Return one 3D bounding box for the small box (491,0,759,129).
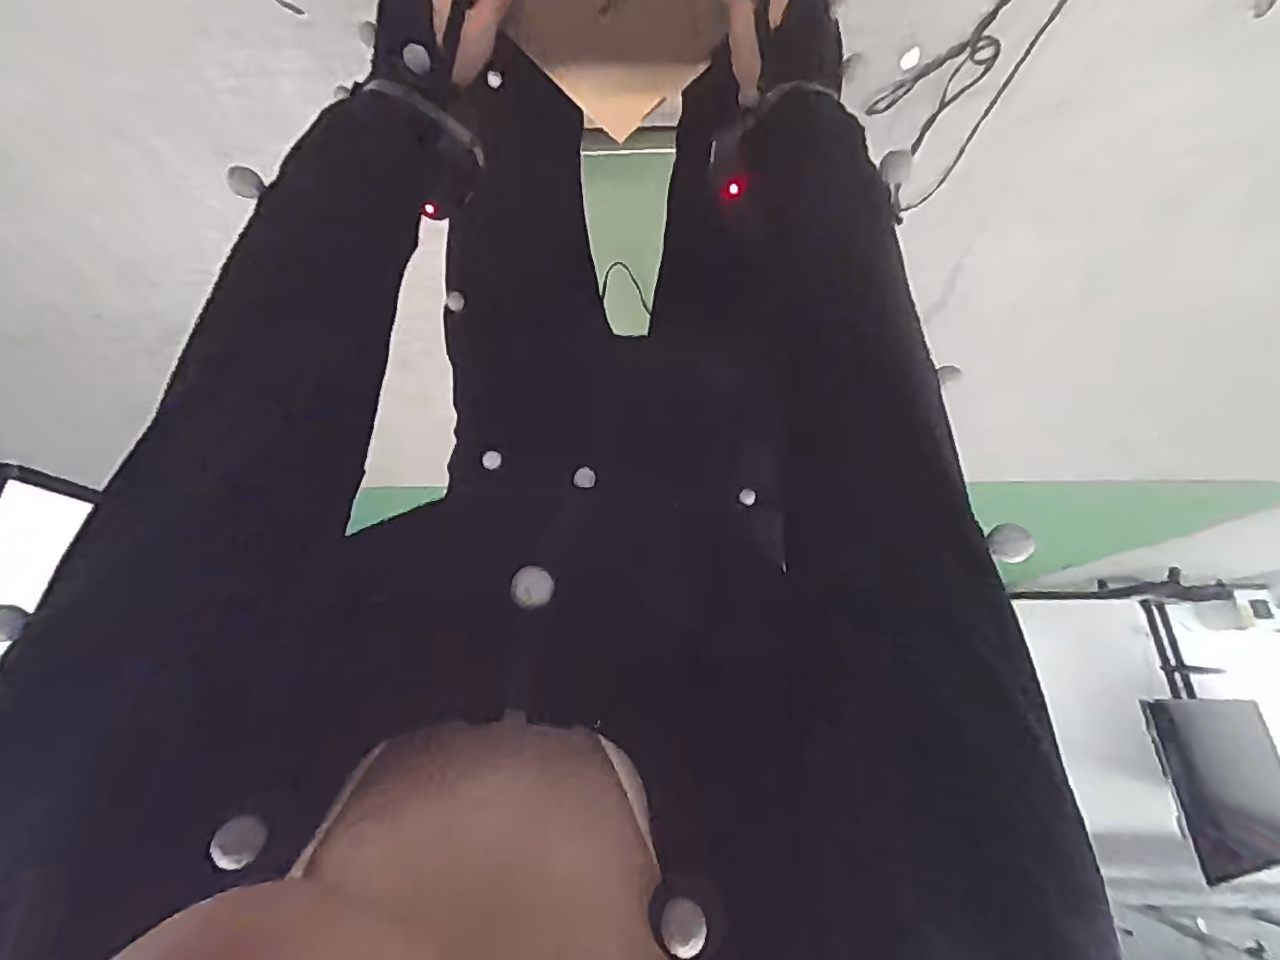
[{"bbox_3d":[-0.013,-0.441,0.423,0.179,0.176,0.168,27,148,-37],"label":"small box"}]
